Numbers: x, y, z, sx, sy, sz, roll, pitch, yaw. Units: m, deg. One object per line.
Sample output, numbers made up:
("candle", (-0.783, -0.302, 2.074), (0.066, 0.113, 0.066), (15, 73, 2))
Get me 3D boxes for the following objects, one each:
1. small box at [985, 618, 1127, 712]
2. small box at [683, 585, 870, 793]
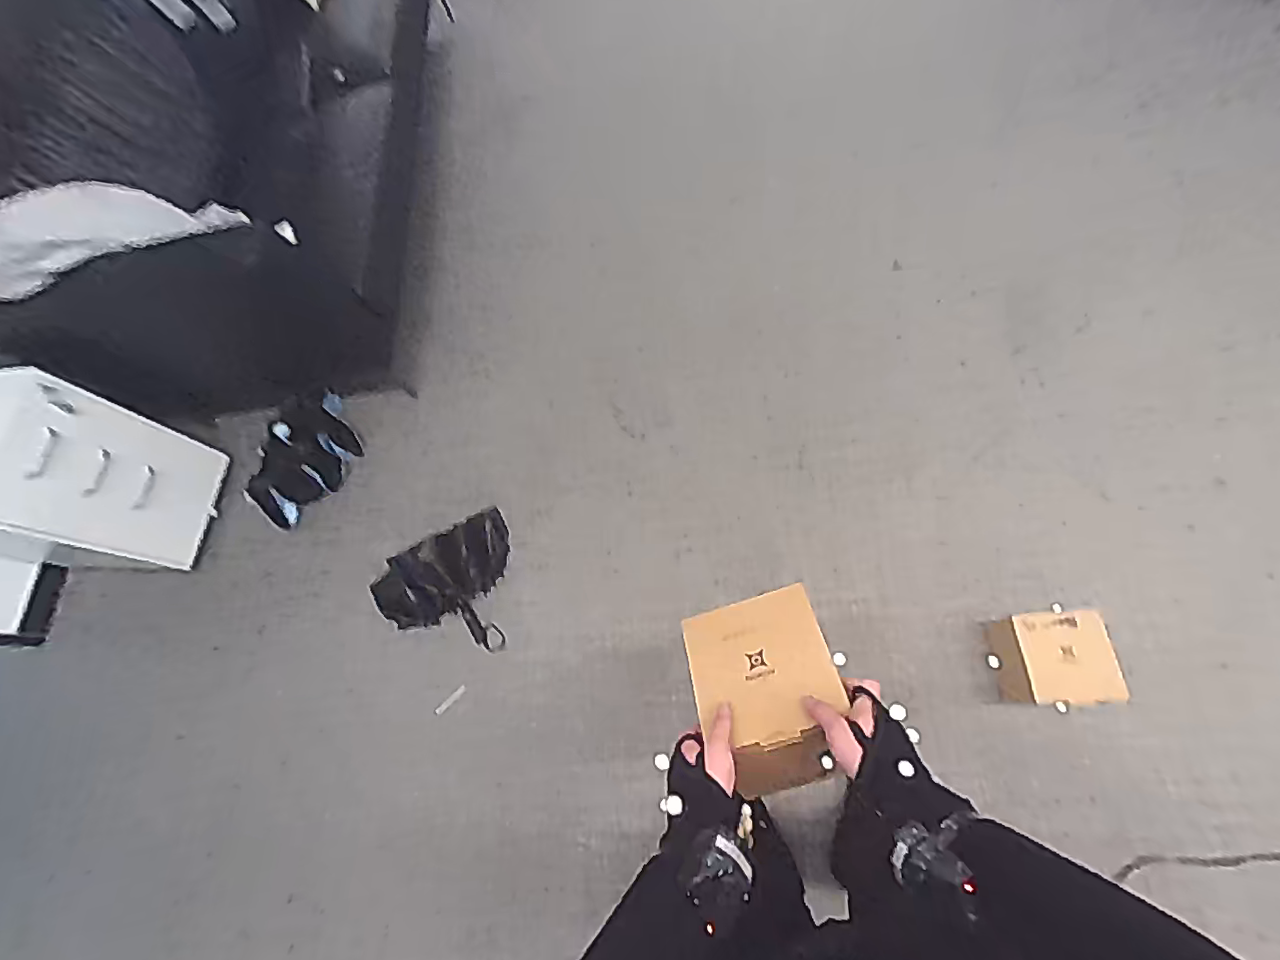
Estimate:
("small box", (0.875, 0.397, 1.158), (0.168, 0.176, 0.179), (-7, 67, 10))
("small box", (0.171, 0.270, 0.684), (0.168, 0.176, 0.179), (-22, 40, 9))
